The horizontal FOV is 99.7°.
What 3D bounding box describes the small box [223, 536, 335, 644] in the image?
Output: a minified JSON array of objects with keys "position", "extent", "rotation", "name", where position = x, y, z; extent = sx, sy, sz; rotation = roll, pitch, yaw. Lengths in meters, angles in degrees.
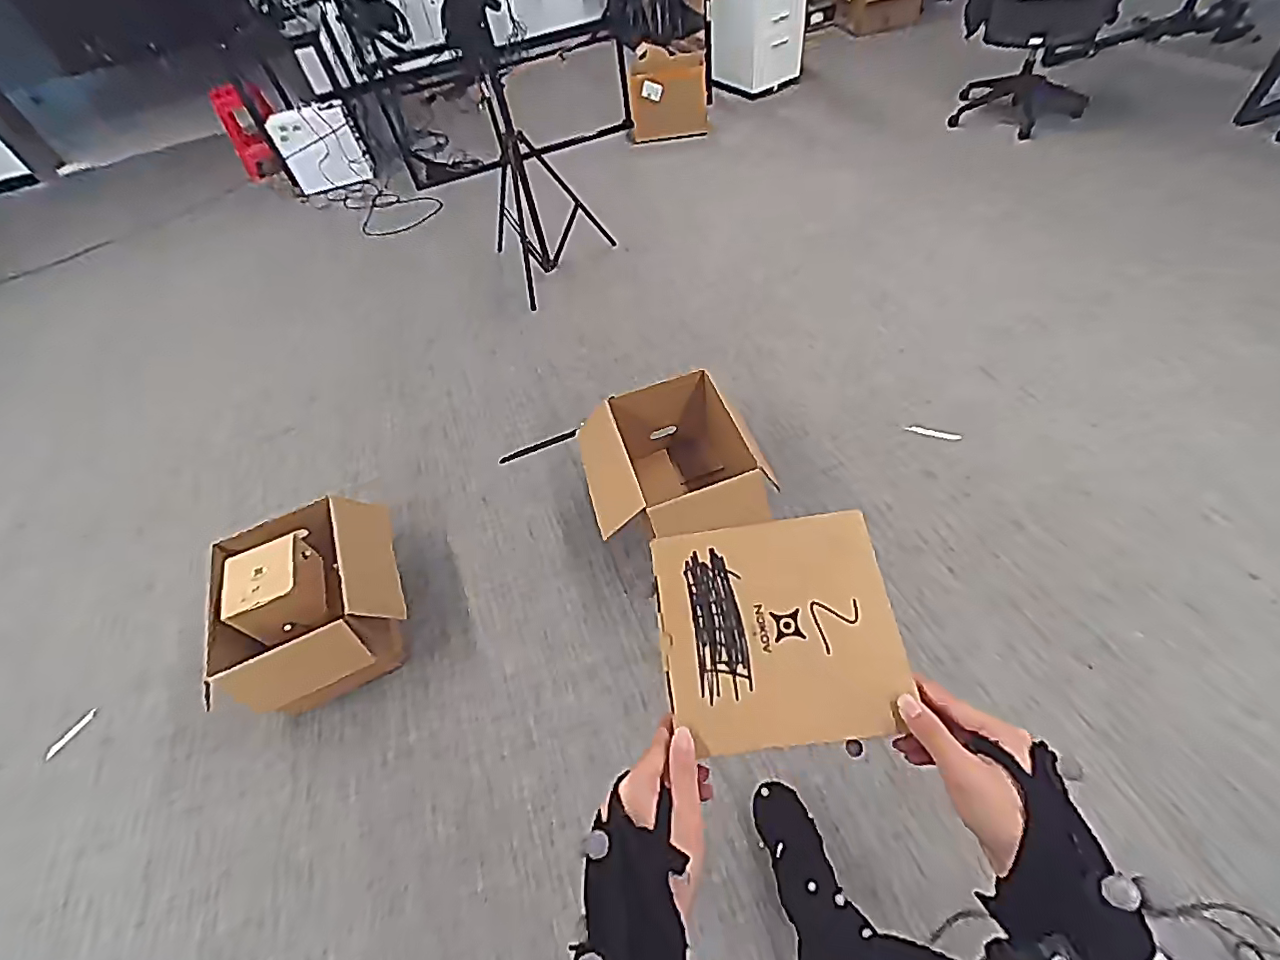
[{"position":[-0.887,0.275,1.344],"extent":[0.168,0.176,0.179],"rotation":[-23,53,-8],"name":"small box"}]
